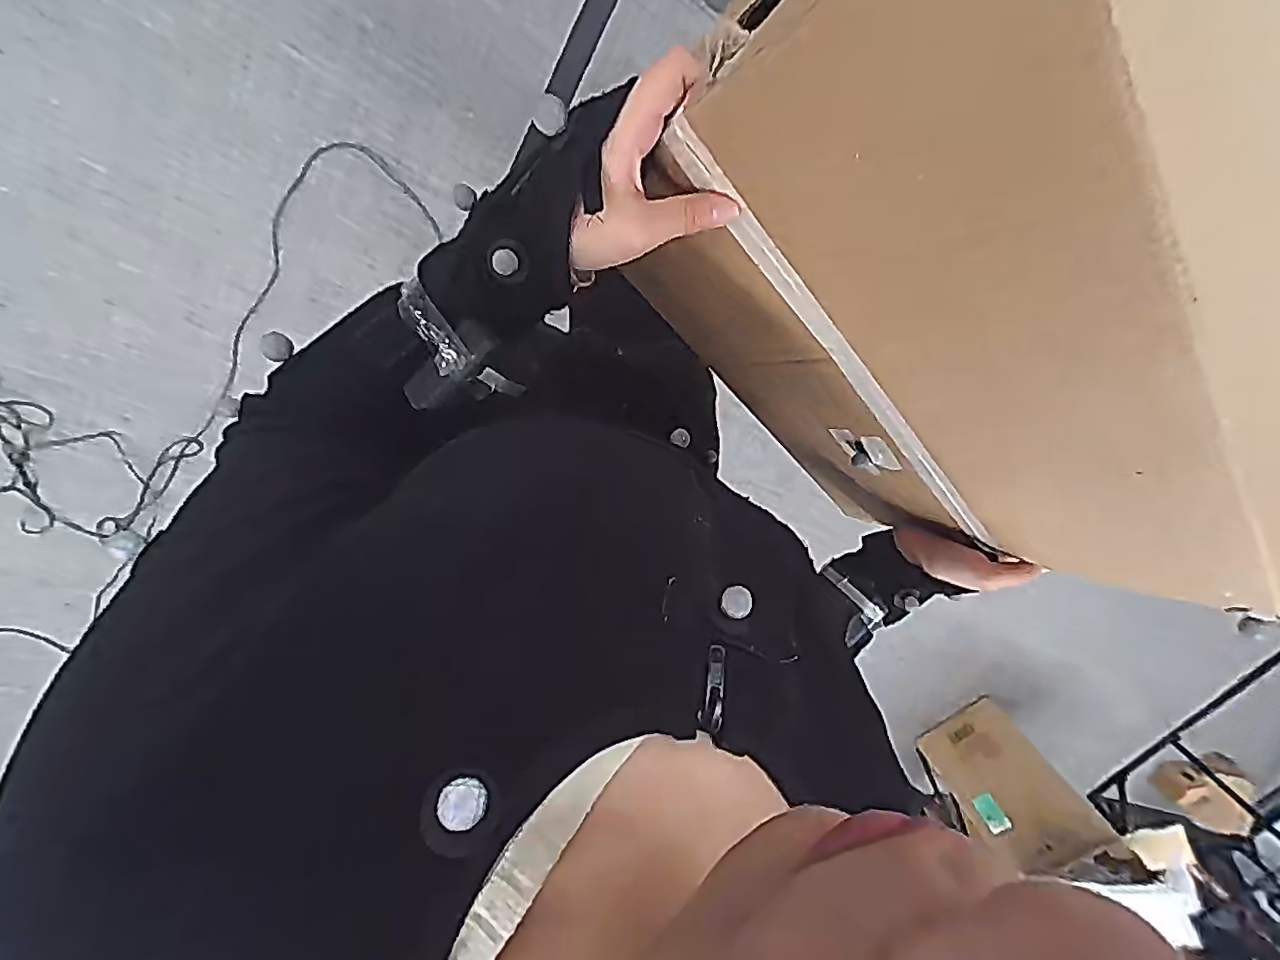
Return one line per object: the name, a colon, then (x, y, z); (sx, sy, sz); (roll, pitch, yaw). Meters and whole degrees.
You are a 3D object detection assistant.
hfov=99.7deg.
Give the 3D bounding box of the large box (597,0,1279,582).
large box: (0.256, -0.194, 0.347); (0.408, 0.320, 0.320); (39, 80, -27)
